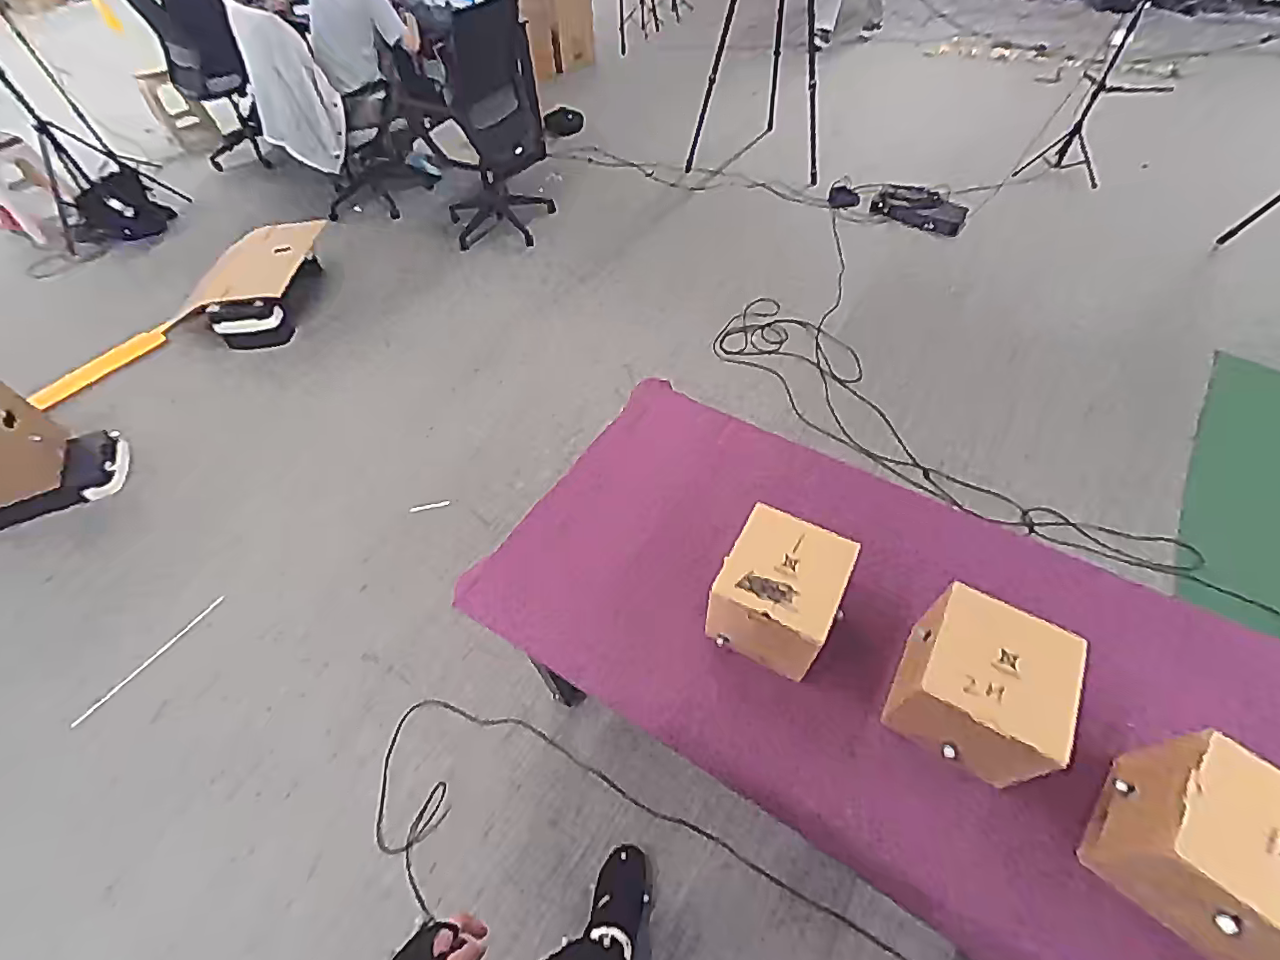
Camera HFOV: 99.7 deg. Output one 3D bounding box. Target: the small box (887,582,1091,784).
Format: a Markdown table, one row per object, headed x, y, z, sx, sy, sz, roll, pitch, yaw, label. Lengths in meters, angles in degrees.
| x | y | z | sx | sy | sz | roll | pitch | yaw | label |
| --- | --- | --- | --- | --- | --- | --- | --- | --- | --- |
| 0.464 | 0.279 | 0.740 | 0.168 | 0.176 | 0.179 | 26 | 60 | 22 | small box |

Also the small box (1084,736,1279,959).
| x | y | z | sx | sy | sz | roll | pitch | yaw | label |
| --- | --- | --- | --- | --- | --- | --- | --- | --- | --- |
| 0.671 | 0.431 | 0.615 | 0.179 | 0.176 | 0.168 | 36 | 63 | 27 | small box |

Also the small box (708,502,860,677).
| x | y | z | sx | sy | sz | roll | pitch | yaw | label |
| --- | --- | --- | --- | --- | --- | --- | --- | --- | --- |
| 0.214 | 0.173 | 0.835 | 0.168 | 0.176 | 0.179 | 24 | 57 | 19 | small box |
